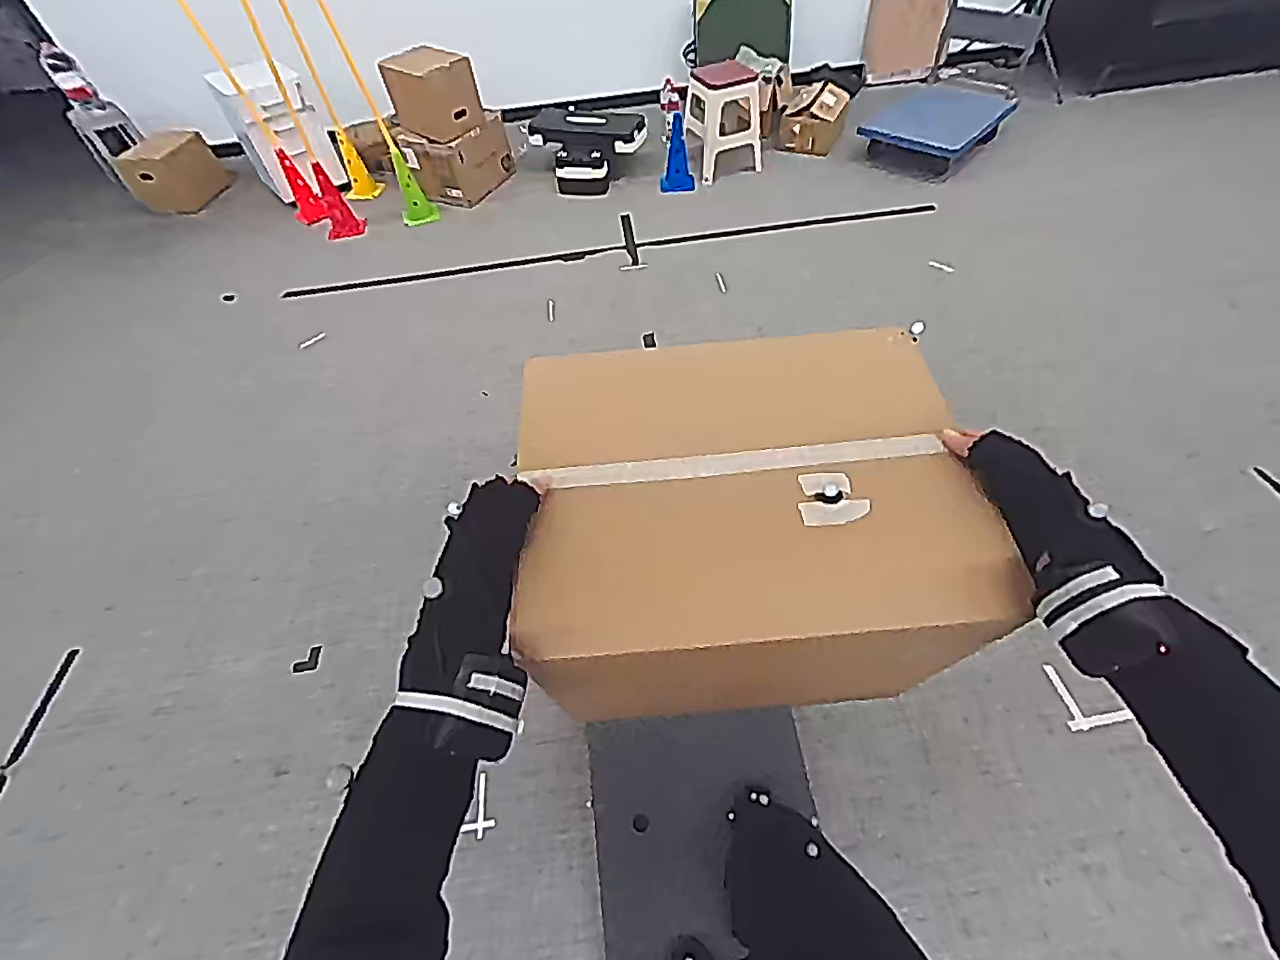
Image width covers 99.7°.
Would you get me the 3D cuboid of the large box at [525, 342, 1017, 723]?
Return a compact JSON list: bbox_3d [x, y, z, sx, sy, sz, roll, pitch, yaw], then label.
[{"bbox_3d":[0.097,0.076,0.631,0.408,0.320,0.320,-5,58,0],"label":"large box"}]
